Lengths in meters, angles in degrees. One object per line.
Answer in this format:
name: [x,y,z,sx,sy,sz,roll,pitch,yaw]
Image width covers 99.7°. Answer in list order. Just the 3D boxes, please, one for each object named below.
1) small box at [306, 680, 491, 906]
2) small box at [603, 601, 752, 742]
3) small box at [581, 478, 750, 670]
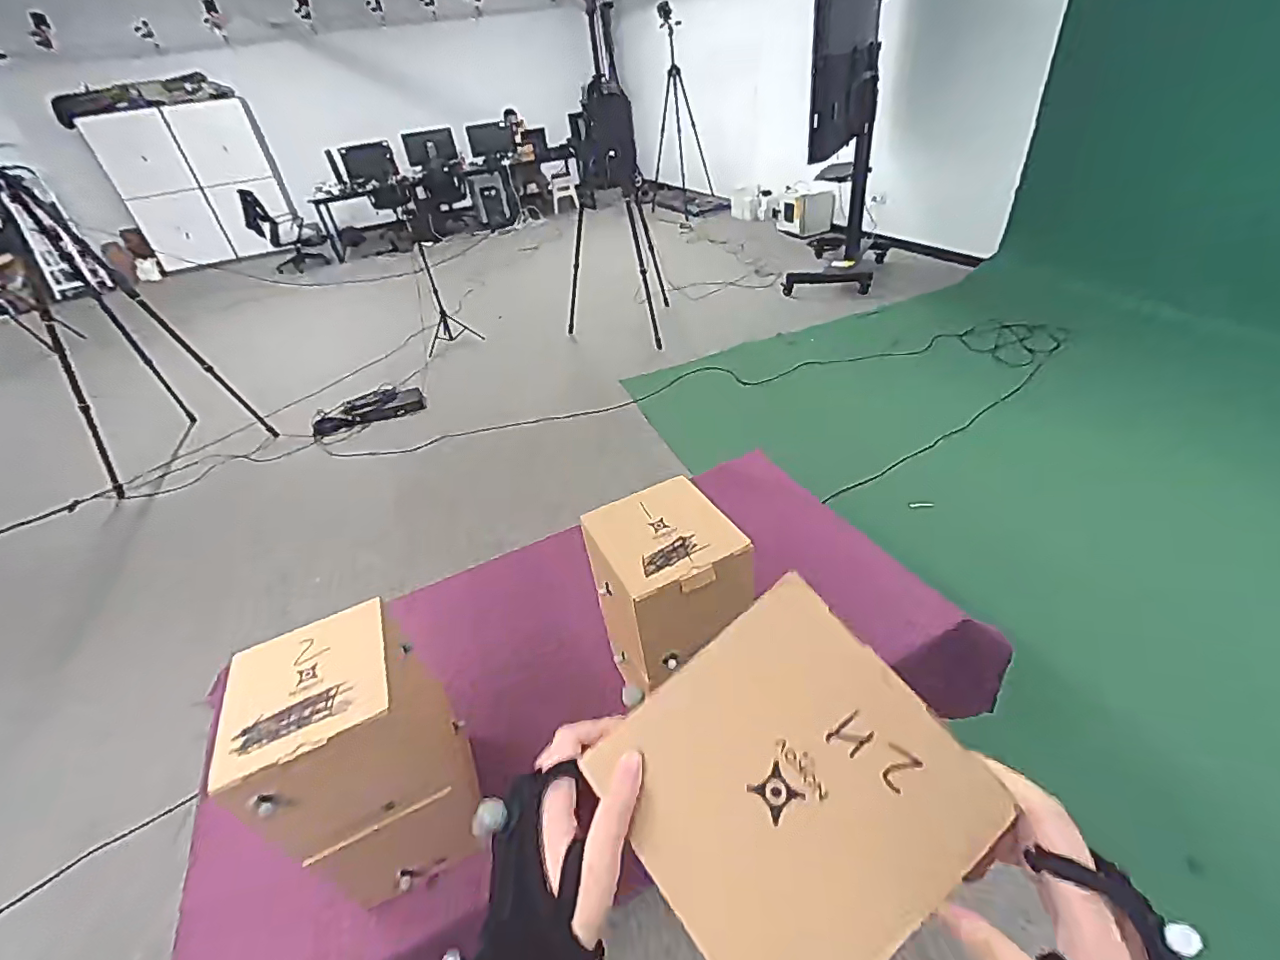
small box: [-0.316,0.414,0.723,0.168,0.176,0.179,-21,39,-15]
small box: [0.058,0.263,0.842,0.168,0.176,0.179,-22,38,-15]
small box: [0.038,0.132,0.744,0.168,0.176,0.179,-22,38,-17]
